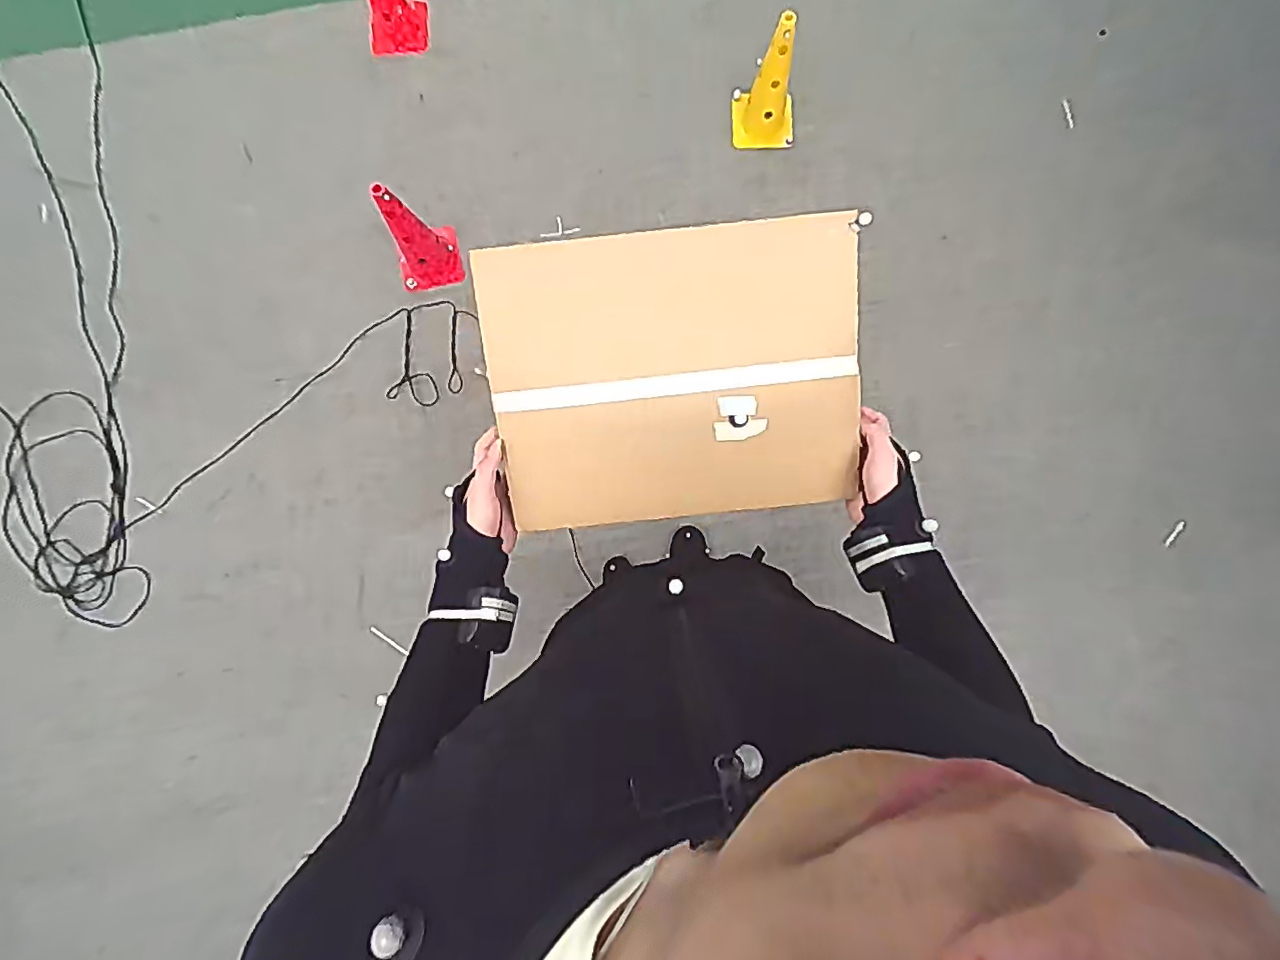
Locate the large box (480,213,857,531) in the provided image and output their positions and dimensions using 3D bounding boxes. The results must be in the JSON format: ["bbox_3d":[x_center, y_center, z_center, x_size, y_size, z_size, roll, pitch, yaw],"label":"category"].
[{"bbox_3d":[0.038,-0.145,0.750,0.408,0.320,0.320,-7,105,0],"label":"large box"}]

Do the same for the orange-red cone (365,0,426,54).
[{"bbox_3d":[-0.846,-1.588,1.700,0.199,0.360,0.198,-3,82,2],"label":"orange-red cone"}]
